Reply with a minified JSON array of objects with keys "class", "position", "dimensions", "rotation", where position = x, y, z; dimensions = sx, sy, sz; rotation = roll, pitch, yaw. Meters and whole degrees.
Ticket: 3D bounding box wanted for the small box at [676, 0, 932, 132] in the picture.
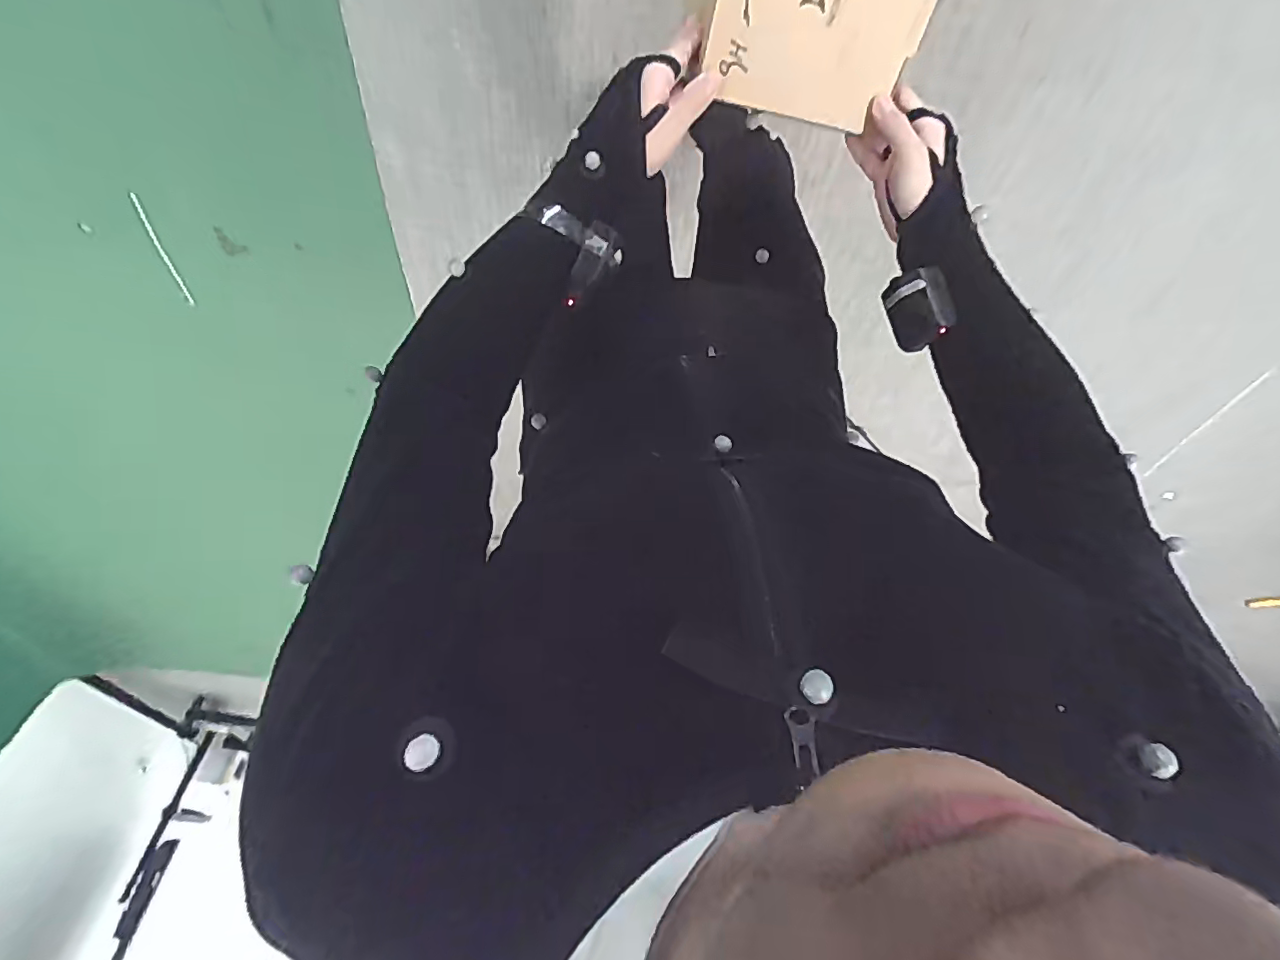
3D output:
[{"class":"small box","position":[0.144,-0.436,0.492],"dimensions":[0.179,0.176,0.168],"rotation":[7,124,-11]}]
